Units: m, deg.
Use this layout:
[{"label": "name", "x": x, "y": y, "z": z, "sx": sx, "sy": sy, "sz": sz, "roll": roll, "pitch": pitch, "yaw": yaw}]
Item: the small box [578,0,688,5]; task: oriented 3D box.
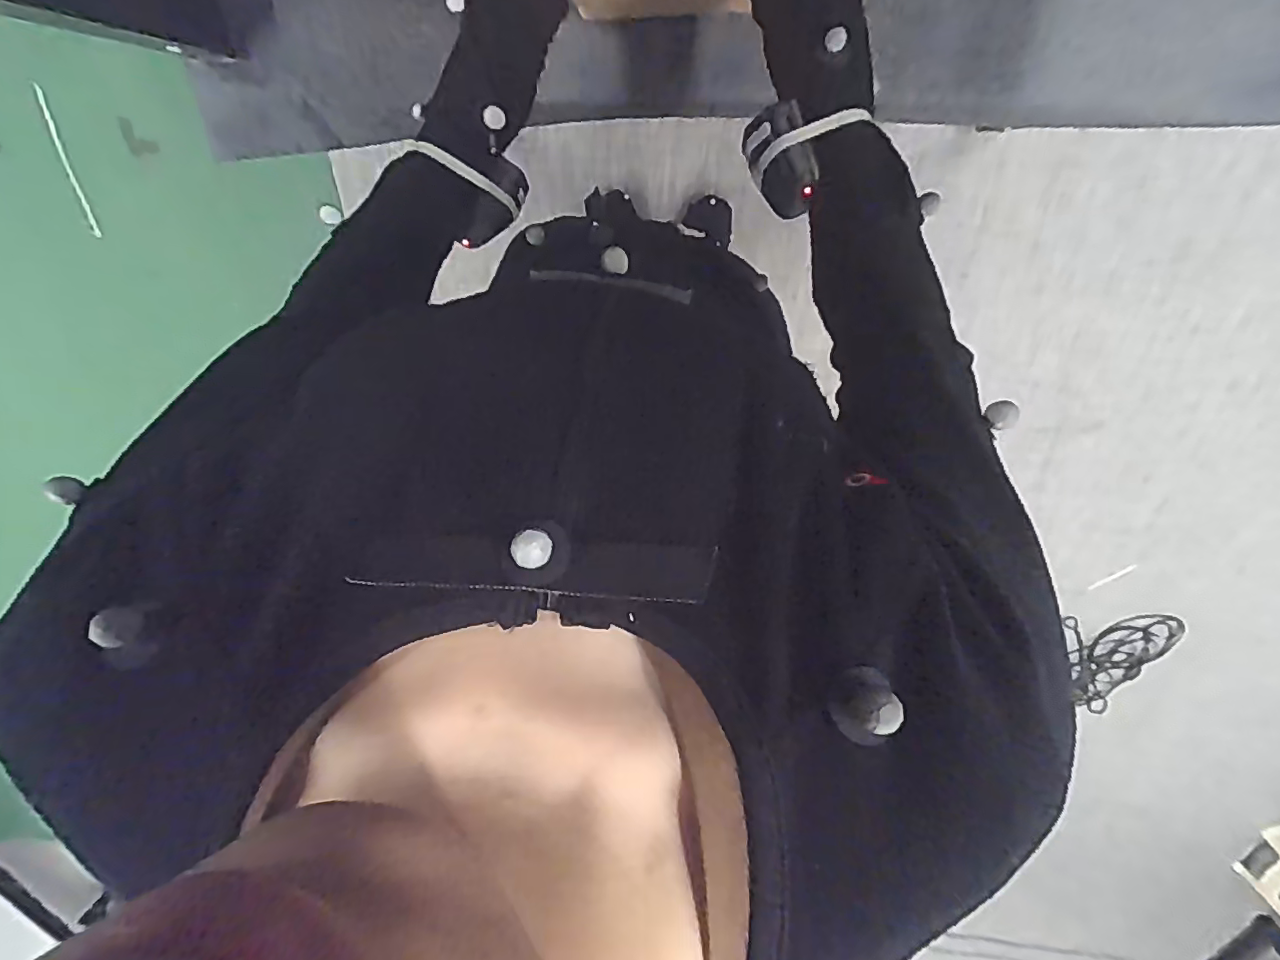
[{"label": "small box", "x": 0.020, "y": -0.484, "z": 0.388, "sx": 0.179, "sy": 0.168, "sz": 0.176, "roll": 0, "pitch": 115, "yaw": 5}]
